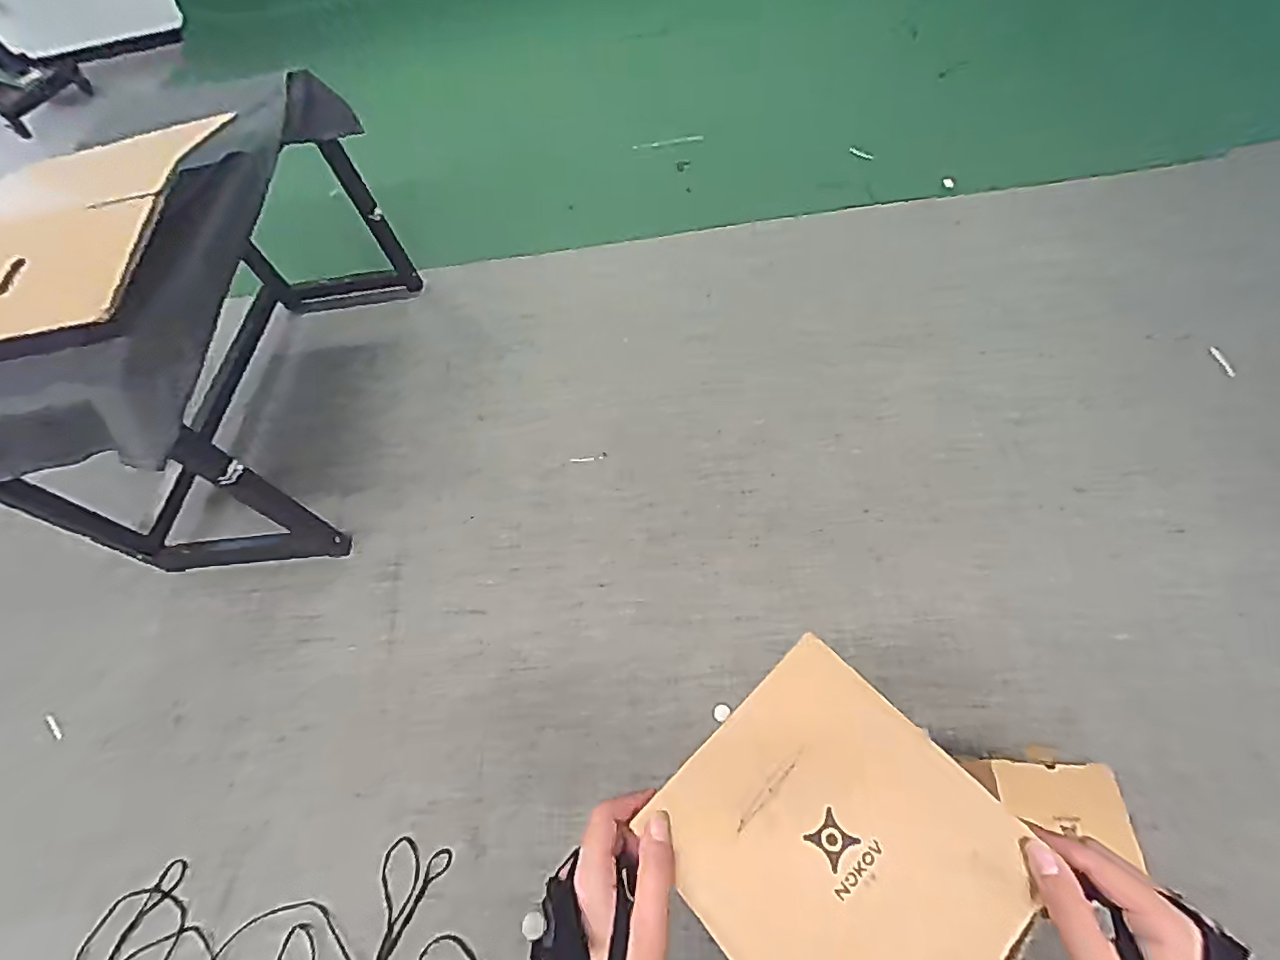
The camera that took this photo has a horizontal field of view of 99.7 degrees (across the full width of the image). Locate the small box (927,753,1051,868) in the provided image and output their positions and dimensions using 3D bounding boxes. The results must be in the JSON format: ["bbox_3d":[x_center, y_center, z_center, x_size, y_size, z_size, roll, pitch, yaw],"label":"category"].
[{"bbox_3d":[0.647,0.604,0.982,0.168,0.176,0.179,-2,59,8],"label":"small box"}]

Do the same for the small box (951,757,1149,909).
[{"bbox_3d":[0.613,0.535,0.837,0.168,0.176,0.179,-2,59,8],"label":"small box"}]
